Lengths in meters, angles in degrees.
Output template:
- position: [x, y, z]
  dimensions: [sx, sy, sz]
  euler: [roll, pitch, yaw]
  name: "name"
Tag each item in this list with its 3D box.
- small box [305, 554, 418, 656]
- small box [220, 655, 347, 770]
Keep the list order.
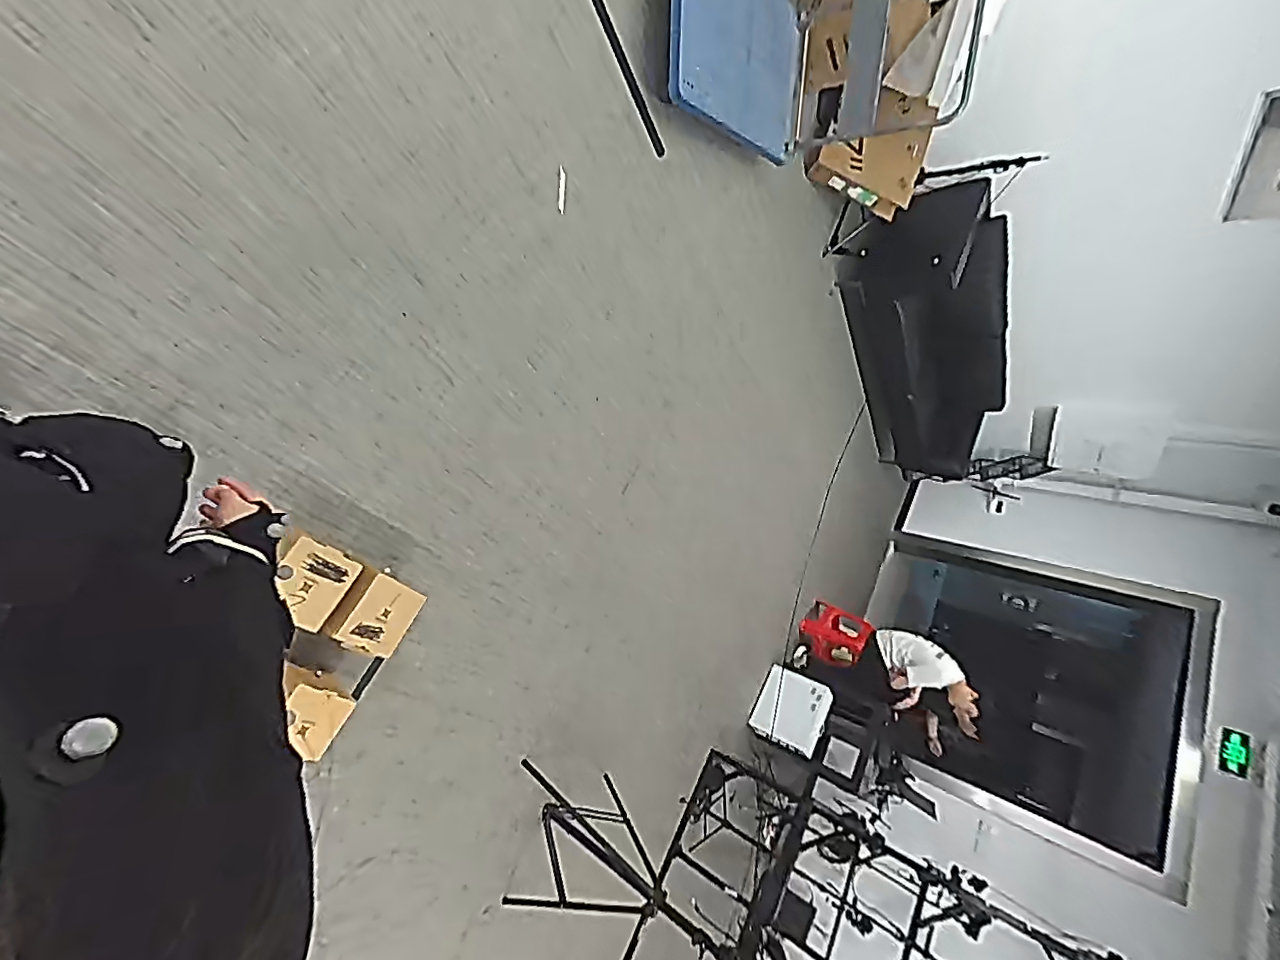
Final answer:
- position: [-0.716, 0.316, 1.381]
  dimensions: [0.179, 0.176, 0.168]
  euler: [-61, 140, -21]
  name: "small box"
- position: [-0.849, 0.547, 1.282]
  dimensions: [0.179, 0.176, 0.168]
  euler: [-60, 139, -22]
  name: "small box"
